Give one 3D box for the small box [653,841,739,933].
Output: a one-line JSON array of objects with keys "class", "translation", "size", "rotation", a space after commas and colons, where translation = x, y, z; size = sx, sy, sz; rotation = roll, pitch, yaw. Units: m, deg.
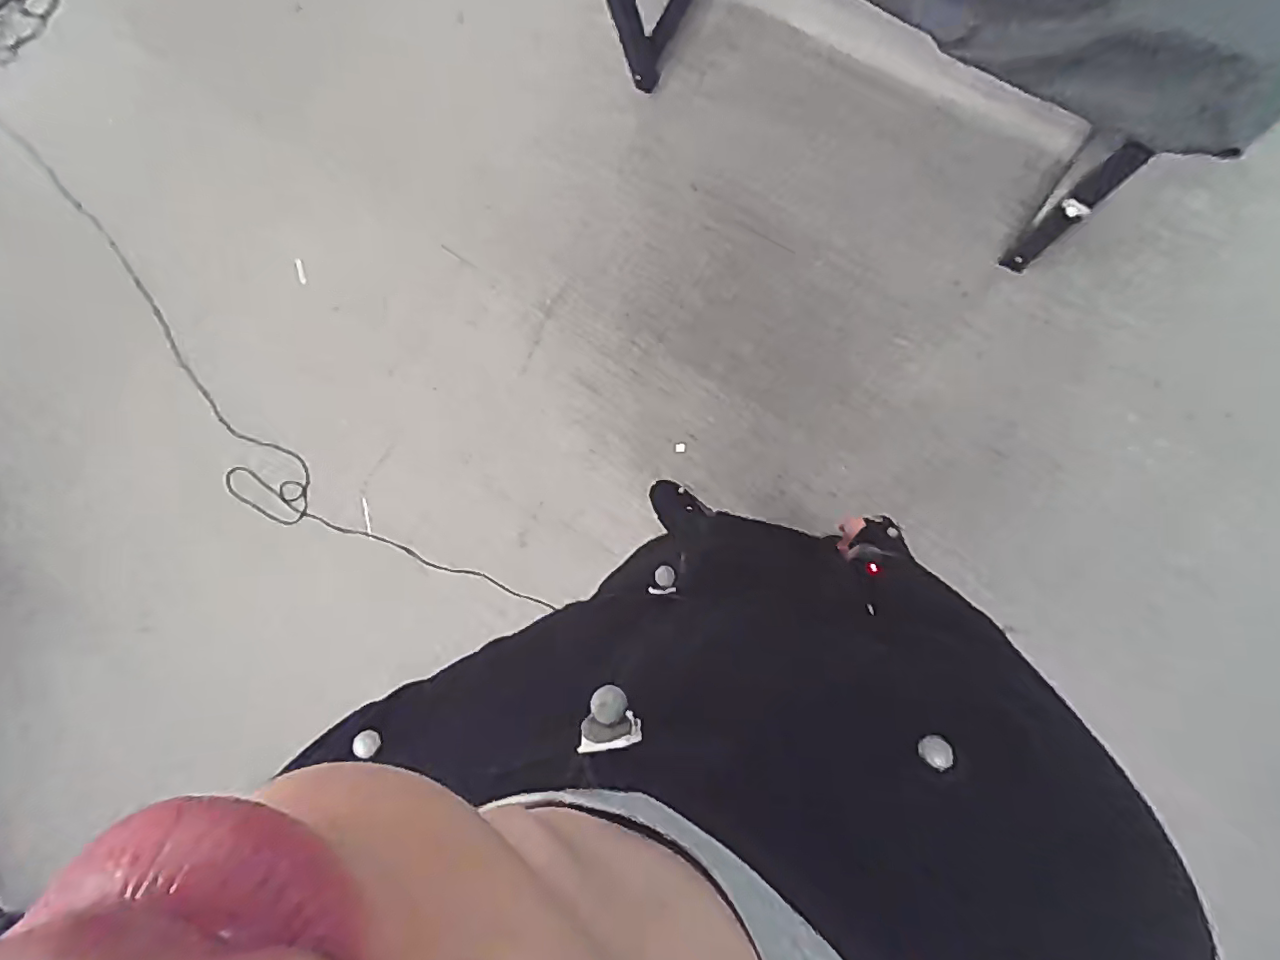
[{"class": "small box", "translation": [0.159, 1.140, 1.460], "size": [0.168, 0.176, 0.179], "rotation": [32, 95, 10]}]
